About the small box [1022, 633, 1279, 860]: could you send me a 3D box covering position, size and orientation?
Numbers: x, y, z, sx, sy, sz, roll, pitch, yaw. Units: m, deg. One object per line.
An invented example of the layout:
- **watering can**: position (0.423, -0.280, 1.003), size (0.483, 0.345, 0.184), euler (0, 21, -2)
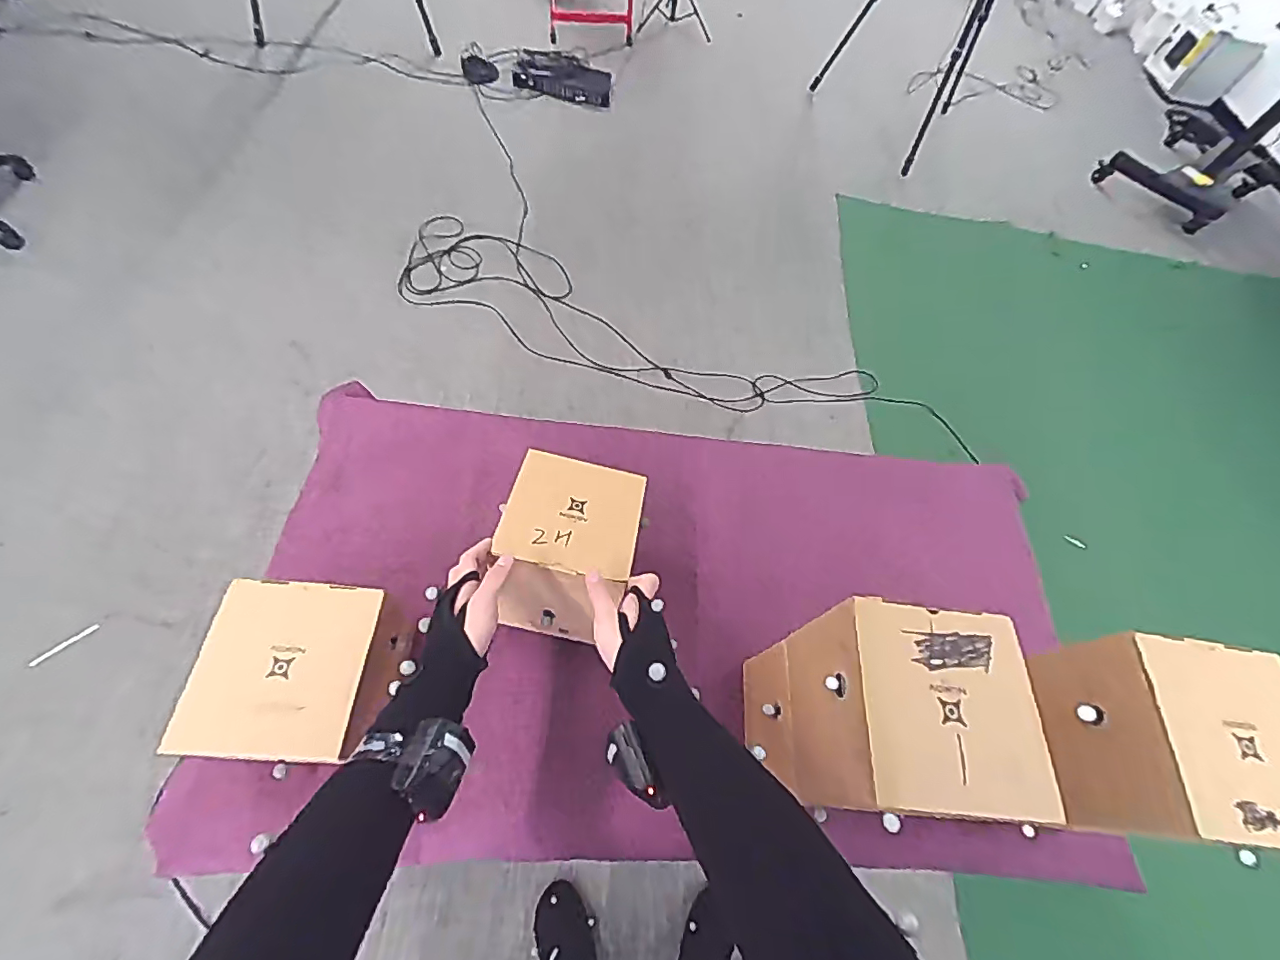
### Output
- **small box**: position (0.537, 0.279, 0.564), size (0.168, 0.176, 0.179), euler (9, 59, -3)

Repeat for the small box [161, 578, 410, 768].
- **small box**: position (-0.384, 0.231, 0.631), size (0.168, 0.176, 0.179), euler (6, 60, -6)

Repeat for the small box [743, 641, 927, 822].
- **small box**: position (0.234, 0.320, 0.686), size (0.168, 0.176, 0.179), euler (8, 59, -5)

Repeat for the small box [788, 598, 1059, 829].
- **small box**: position (0.258, 0.238, 0.546), size (0.168, 0.176, 0.179), euler (9, 60, -4)

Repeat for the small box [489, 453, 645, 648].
- **small box**: position (-0.100, 0.097, 0.728), size (0.168, 0.176, 0.179), euler (14, 47, -3)
